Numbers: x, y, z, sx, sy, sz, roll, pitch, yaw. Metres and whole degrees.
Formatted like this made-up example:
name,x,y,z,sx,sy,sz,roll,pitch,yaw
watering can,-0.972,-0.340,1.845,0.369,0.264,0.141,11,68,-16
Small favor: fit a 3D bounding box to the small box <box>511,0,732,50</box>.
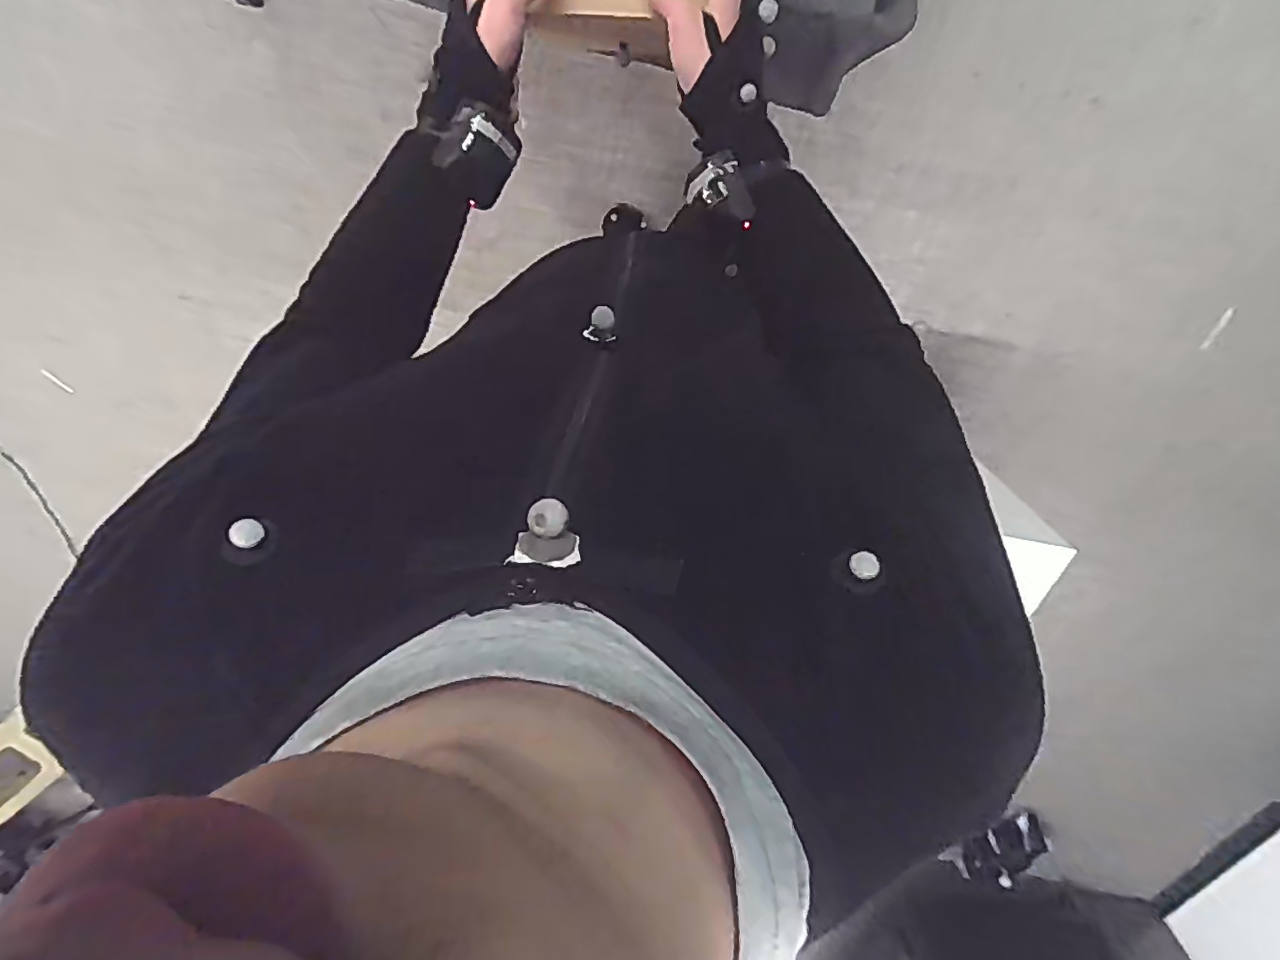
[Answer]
name,x,y,z,sx,sy,sz,roll,pitch,yaw
small box,-0.007,-0.481,0.454,0.179,0.176,0.168,5,121,1
